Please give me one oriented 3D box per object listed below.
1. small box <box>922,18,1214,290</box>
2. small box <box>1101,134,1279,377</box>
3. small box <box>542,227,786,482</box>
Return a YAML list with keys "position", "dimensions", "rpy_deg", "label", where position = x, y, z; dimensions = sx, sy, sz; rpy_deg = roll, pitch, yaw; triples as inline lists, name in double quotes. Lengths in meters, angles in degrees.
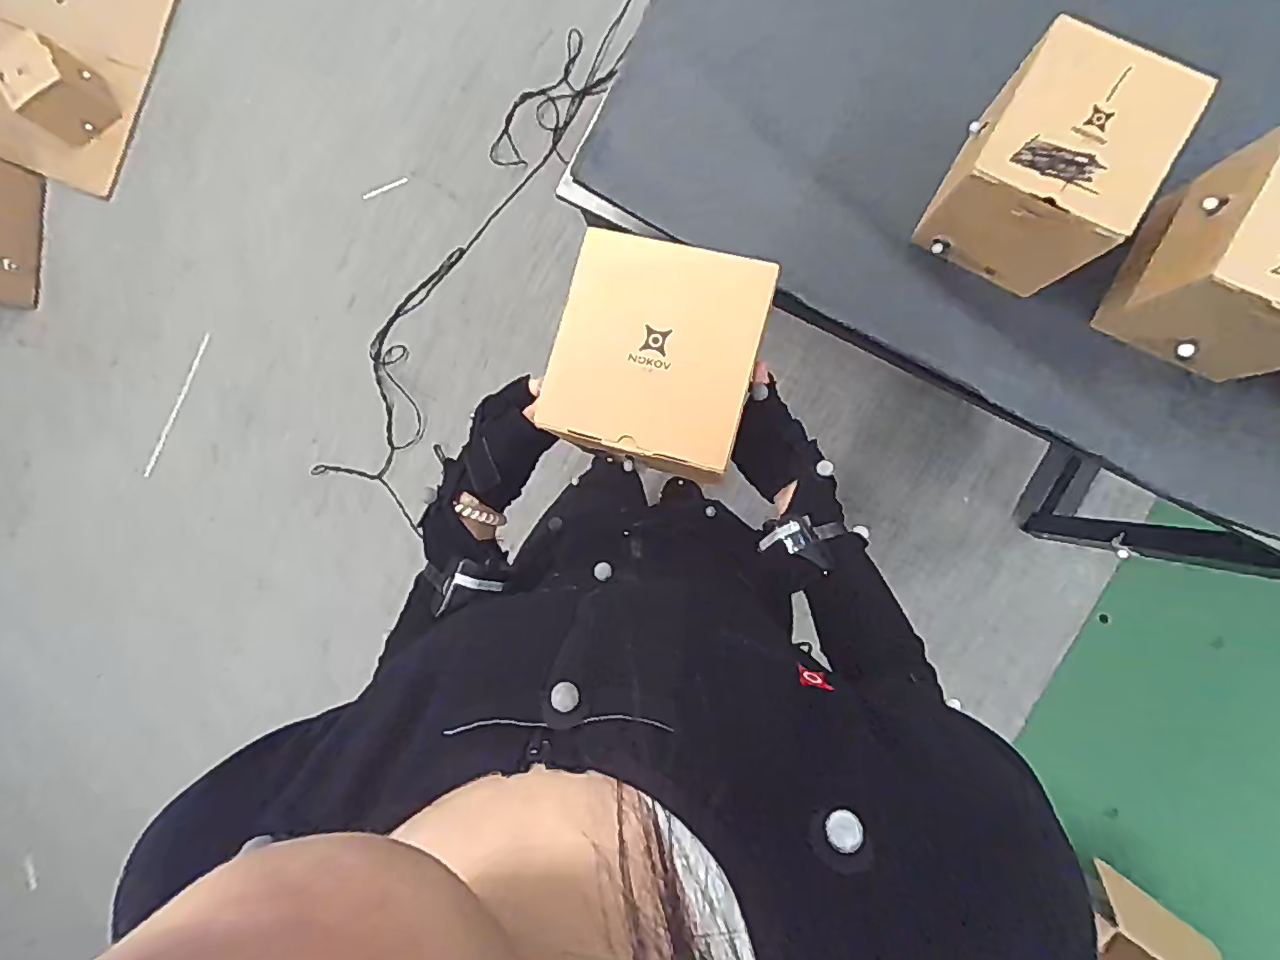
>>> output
- position: [0.456, -0.348, 0.615]
  dimensions: [0.168, 0.176, 0.179]
  rpy_deg: [29, 92, 5]
  label: "small box"
- position: [0.669, -0.236, 0.590]
  dimensions: [0.168, 0.176, 0.179]
  rpy_deg: [27, 93, 6]
  label: "small box"
- position: [0.027, -0.104, 0.518]
  dimensions: [0.168, 0.176, 0.179]
  rpy_deg: [15, 89, 8]
  label: "small box"
